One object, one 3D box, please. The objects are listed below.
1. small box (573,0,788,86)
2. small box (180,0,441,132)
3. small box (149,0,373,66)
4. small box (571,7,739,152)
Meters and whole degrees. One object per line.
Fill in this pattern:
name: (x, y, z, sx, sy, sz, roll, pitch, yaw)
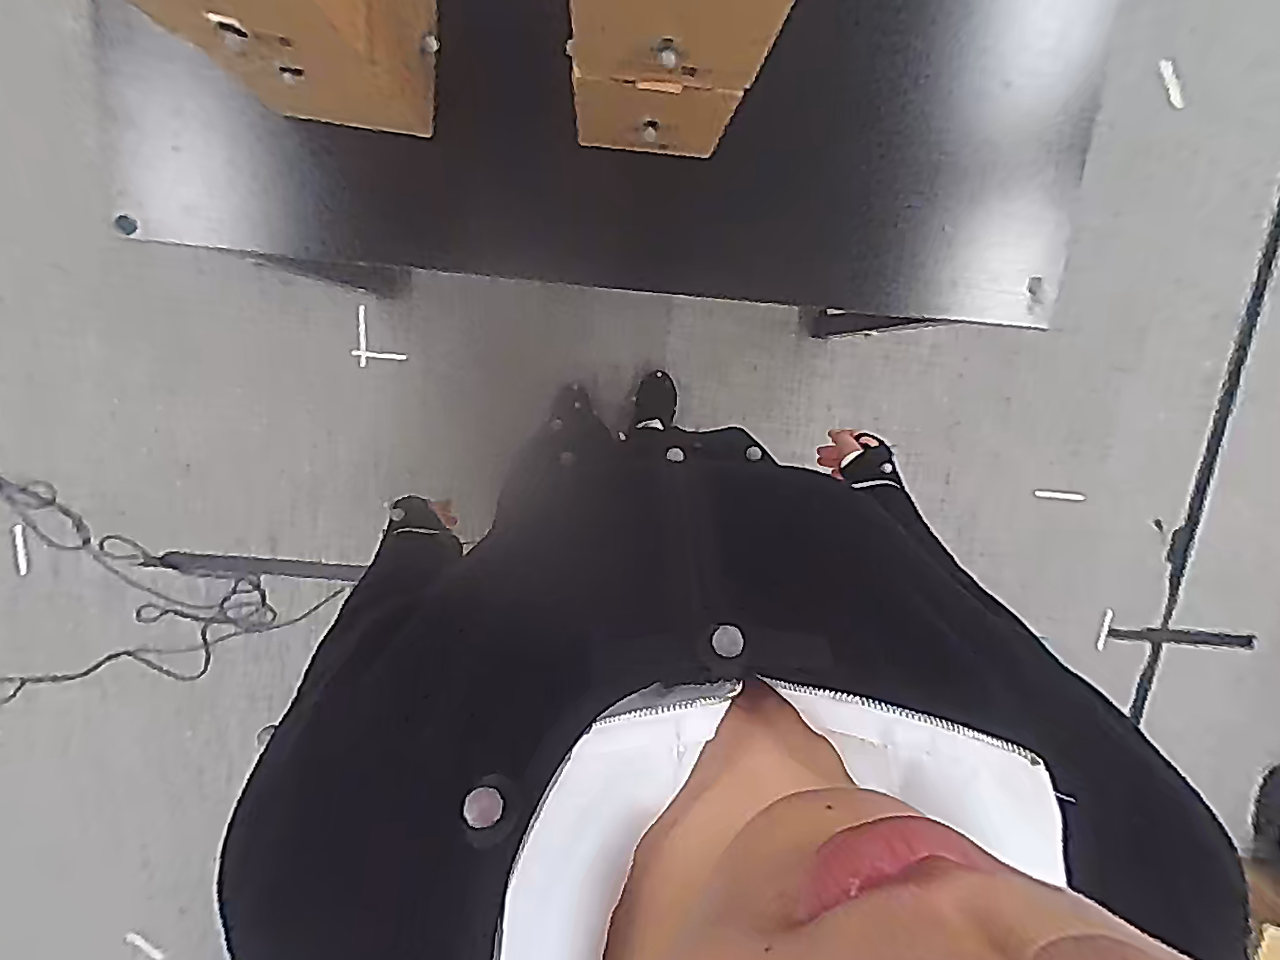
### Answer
small box: (0.033, -0.450, 0.415, 0.168, 0.176, 0.179, 3, 101, -4)
small box: (-0.319, -0.486, 0.551, 0.179, 0.176, 0.168, 5, 101, -6)
small box: (-0.311, -0.452, 0.392, 0.168, 0.176, 0.179, 5, 102, -4)
small box: (0.018, -0.478, 0.578, 0.168, 0.176, 0.179, 3, 101, -4)
